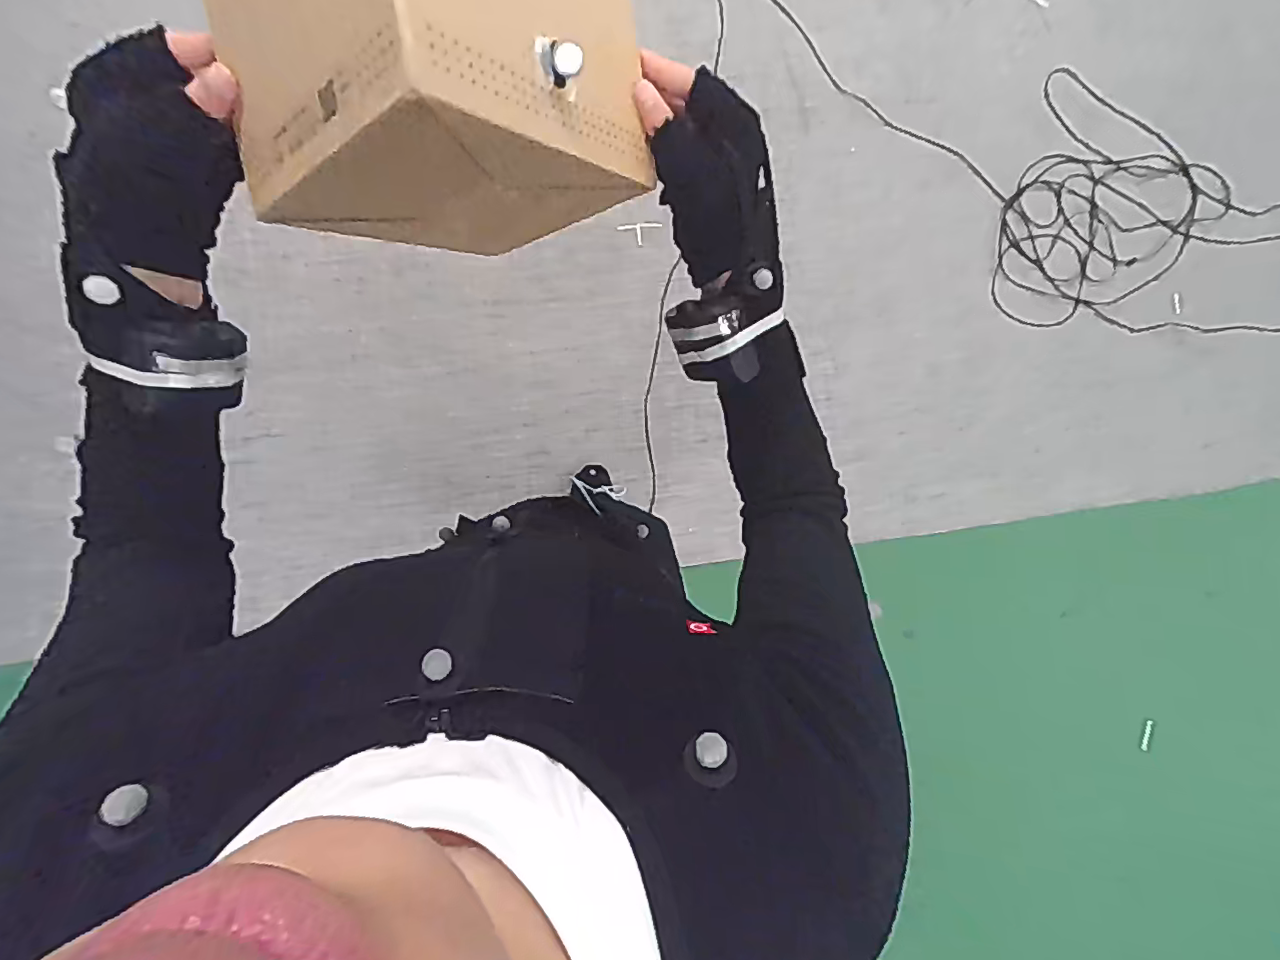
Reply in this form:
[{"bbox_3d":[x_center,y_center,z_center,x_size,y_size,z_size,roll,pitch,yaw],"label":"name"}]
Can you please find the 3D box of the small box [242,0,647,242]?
[{"bbox_3d":[-0.109,-0.255,0.320,0.168,0.179,0.176,-3,99,35],"label":"small box"}]
